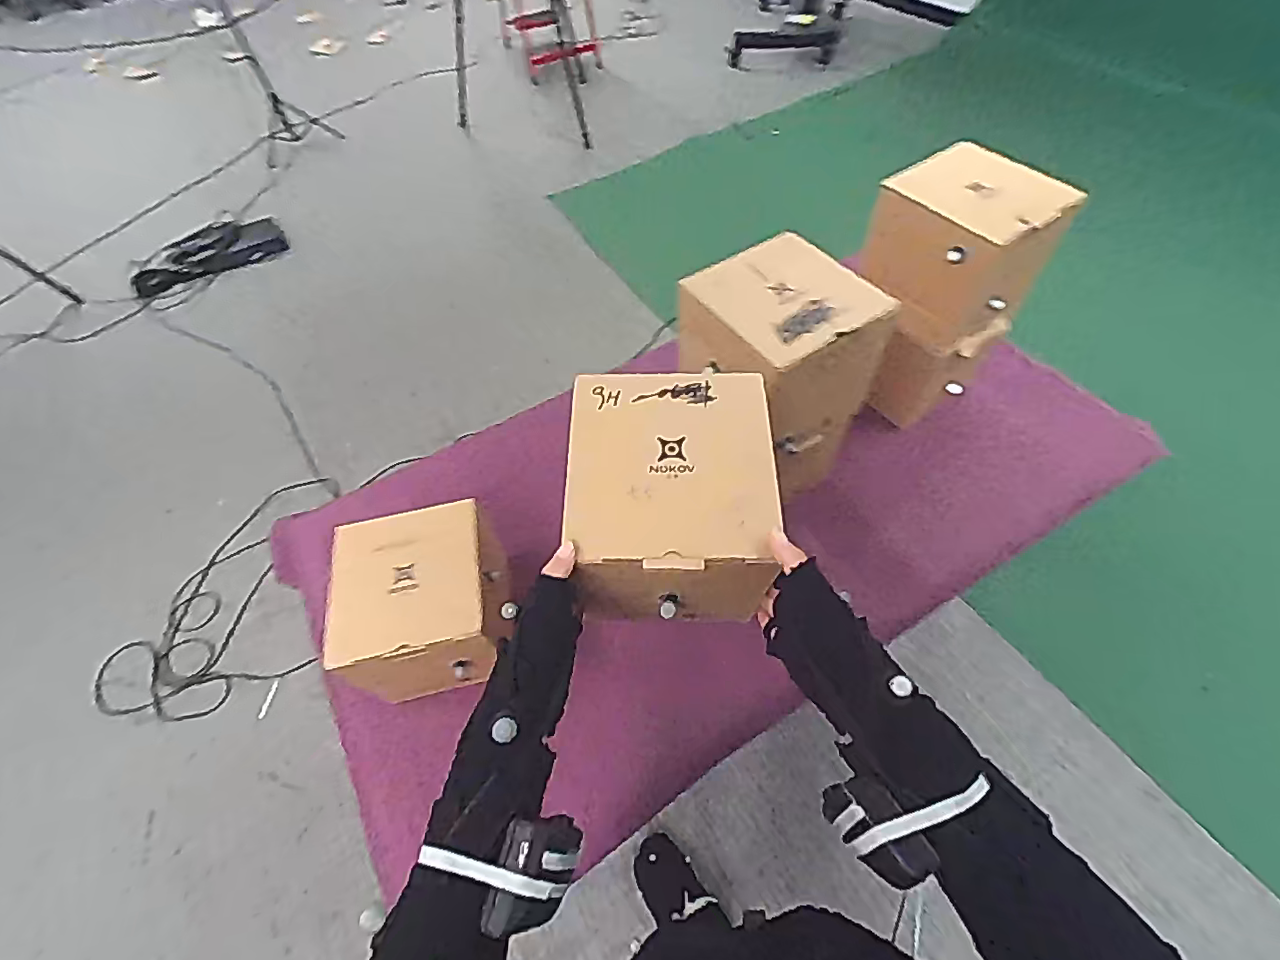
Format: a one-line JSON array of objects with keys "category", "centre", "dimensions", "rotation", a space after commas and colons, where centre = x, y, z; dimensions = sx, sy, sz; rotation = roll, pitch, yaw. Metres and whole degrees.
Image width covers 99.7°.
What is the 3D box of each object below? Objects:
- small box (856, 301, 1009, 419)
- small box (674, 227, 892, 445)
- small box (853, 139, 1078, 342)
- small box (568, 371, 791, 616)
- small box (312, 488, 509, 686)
[{"category": "small box", "centre": [0.430, -0.232, 0.875], "dimensions": [0.168, 0.176, 0.179], "rotation": [-32, 61, -15]}, {"category": "small box", "centre": [0.157, -0.161, 0.650], "dimensions": [0.168, 0.176, 0.179], "rotation": [-29, 59, -15]}, {"category": "small box", "centre": [0.422, -0.324, 0.741], "dimensions": [0.168, 0.176, 0.179], "rotation": [-32, 62, -16]}, {"category": "small box", "centre": [0.031, 0.023, 0.500], "dimensions": [0.168, 0.176, 0.179], "rotation": [-3, 61, 1]}, {"category": "small box", "centre": [-0.265, 0.139, 0.659], "dimensions": [0.168, 0.176, 0.179], "rotation": [-12, 57, -5]}]
